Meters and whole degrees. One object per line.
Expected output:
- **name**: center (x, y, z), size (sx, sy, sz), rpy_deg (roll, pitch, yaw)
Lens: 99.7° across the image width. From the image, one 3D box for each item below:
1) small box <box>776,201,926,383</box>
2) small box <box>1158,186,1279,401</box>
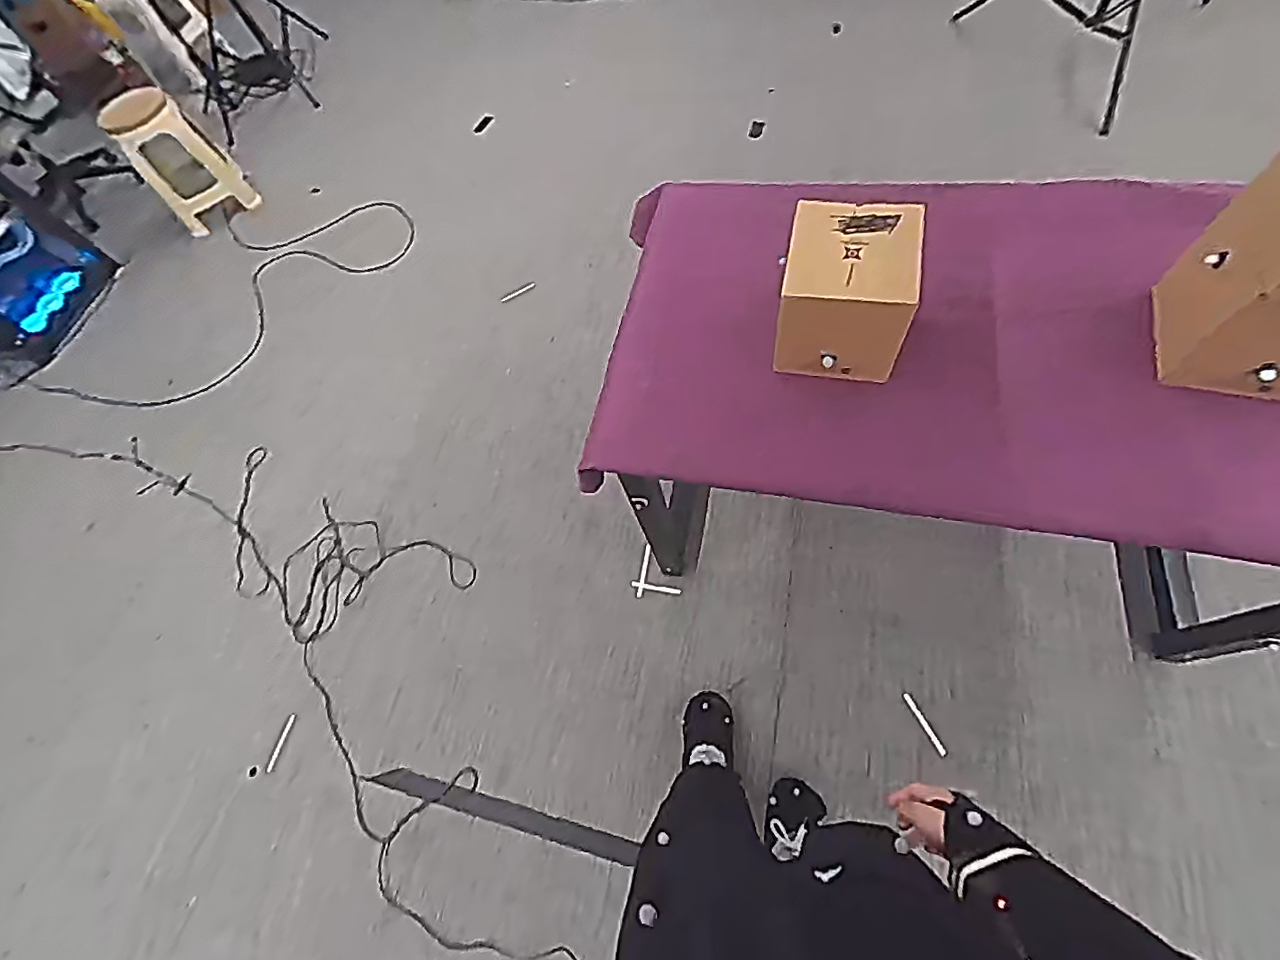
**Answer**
- **small box**: center (0.292, -0.265, 0.773), size (0.168, 0.176, 0.179), rpy_deg (9, 68, 15)
- **small box**: center (0.785, -0.222, 0.661), size (0.168, 0.176, 0.179), rpy_deg (13, 68, 17)
